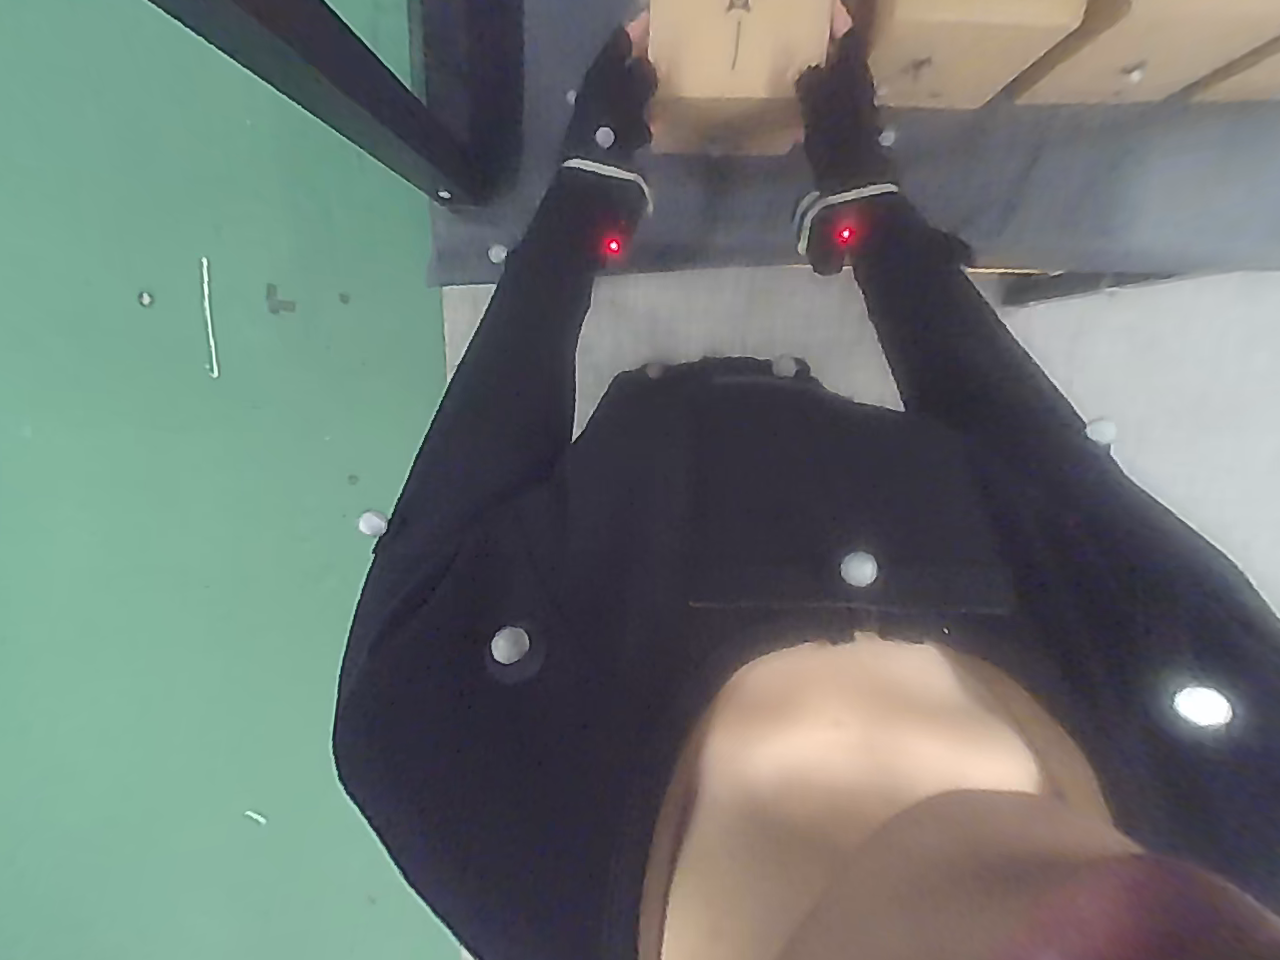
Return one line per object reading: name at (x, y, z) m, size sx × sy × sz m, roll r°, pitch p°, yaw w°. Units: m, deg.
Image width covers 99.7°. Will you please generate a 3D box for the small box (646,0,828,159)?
small box at (0.093, -0.466, 0.570) m, size 0.168 × 0.176 × 0.179 m, roll 3°, pitch 105°, yaw 2°
